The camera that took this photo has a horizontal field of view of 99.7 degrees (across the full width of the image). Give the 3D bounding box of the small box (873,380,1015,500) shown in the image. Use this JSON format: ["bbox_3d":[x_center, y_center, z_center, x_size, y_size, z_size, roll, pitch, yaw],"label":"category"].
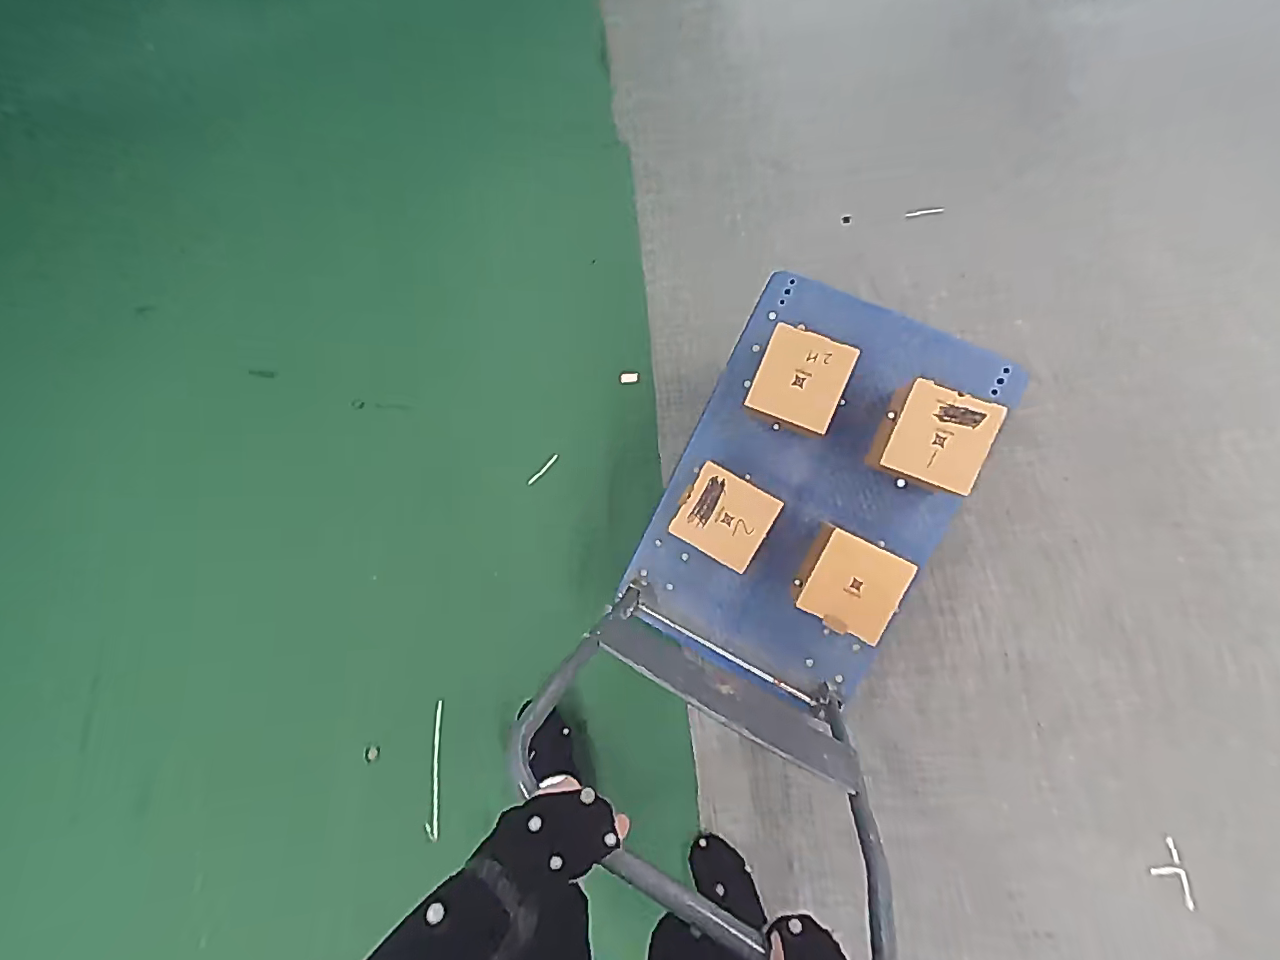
[{"bbox_3d":[0.582,-0.075,1.065,0.168,0.176,0.179,24,96,11],"label":"small box"}]

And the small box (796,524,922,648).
[{"bbox_3d":[0.431,0.203,1.101,0.168,0.176,0.179,28,97,10],"label":"small box"}]

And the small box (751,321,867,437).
[{"bbox_3d":[0.340,-0.197,1.114,0.168,0.176,0.179,24,95,10],"label":"small box"}]
